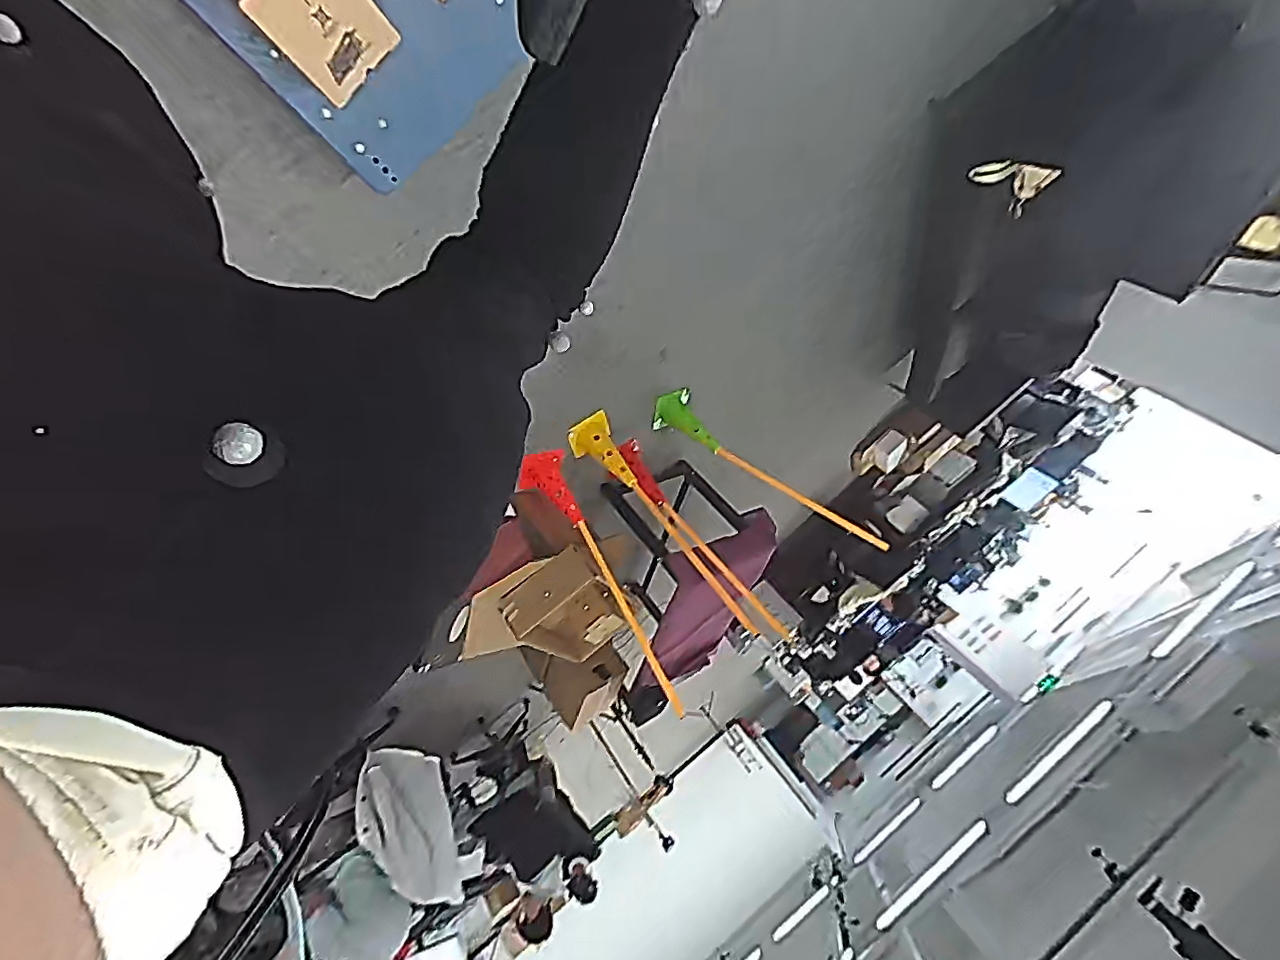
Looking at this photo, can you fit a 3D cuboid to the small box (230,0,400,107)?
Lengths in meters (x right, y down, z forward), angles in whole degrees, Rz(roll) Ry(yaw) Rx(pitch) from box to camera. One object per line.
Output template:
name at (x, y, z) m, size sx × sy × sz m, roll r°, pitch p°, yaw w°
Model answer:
small box at (-0.551, -0.784, 0.908) m, size 0.168 × 0.176 × 0.179 m, roll -46°, pitch 148°, yaw 4°
